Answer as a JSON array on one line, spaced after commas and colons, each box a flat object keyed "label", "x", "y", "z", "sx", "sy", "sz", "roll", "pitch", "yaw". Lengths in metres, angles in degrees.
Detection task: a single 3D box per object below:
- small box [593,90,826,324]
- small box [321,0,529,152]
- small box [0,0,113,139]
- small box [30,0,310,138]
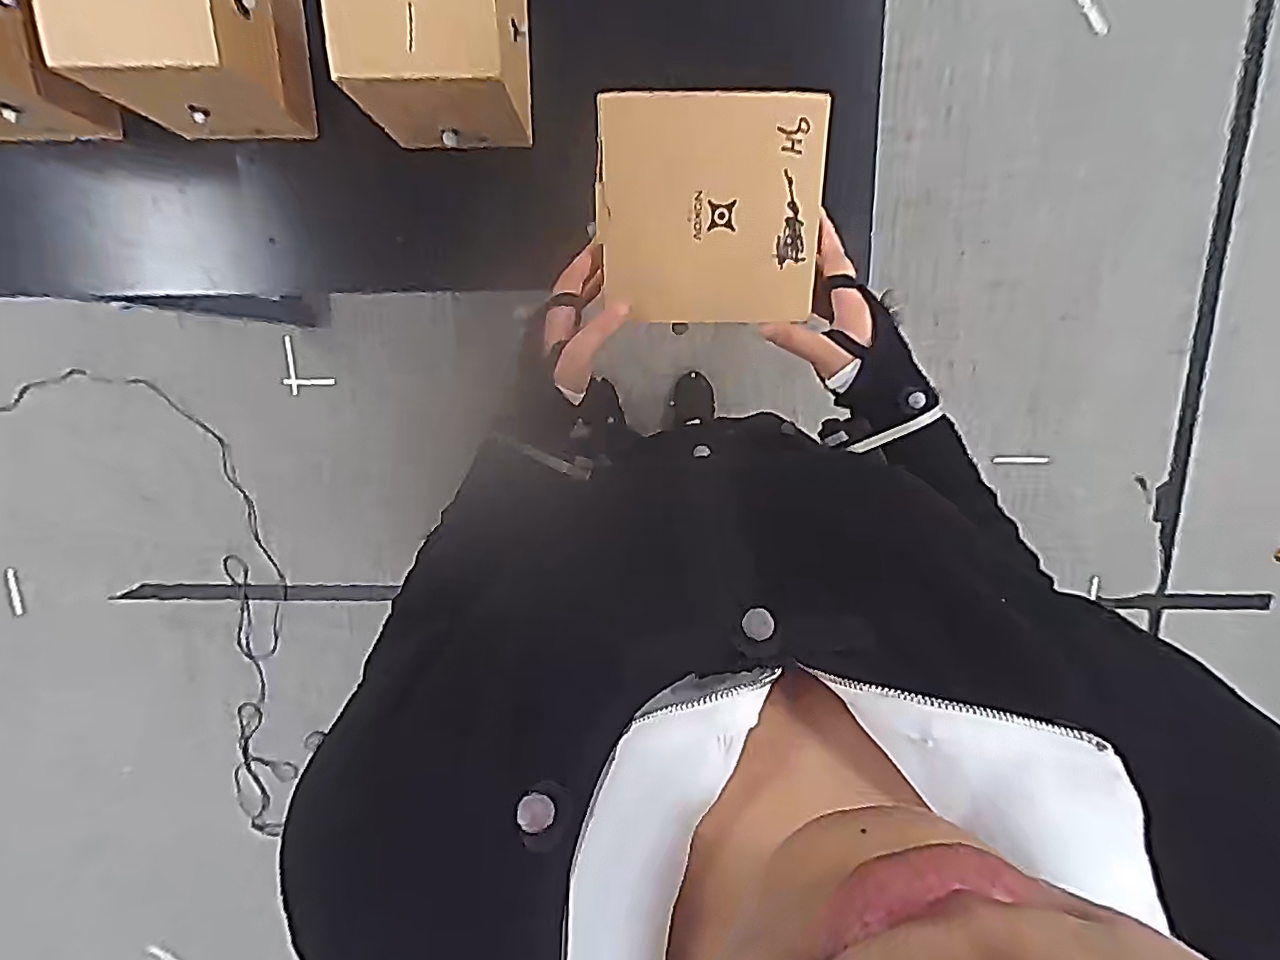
[{"label": "small box", "x": 0.051, "y": -0.233, "z": 0.502, "sx": 0.179, "sy": 0.176, "sz": 0.168, "roll": 1, "pitch": 107, "yaw": -1}, {"label": "small box", "x": -0.217, "y": -0.482, "z": 0.580, "sx": 0.168, "sy": 0.176, "sz": 0.179, "roll": 0, "pitch": 102, "yaw": -1}, {"label": "small box", "x": -0.722, "y": -0.487, "z": 0.574, "sx": 0.168, "sy": 0.176, "sz": 0.179, "roll": -2, "pitch": 100, "yaw": -2}, {"label": "small box", "x": -0.482, "y": -0.489, "z": 0.575, "sx": 0.168, "sy": 0.176, "sz": 0.179, "roll": -1, "pitch": 101, "yaw": -1}]
